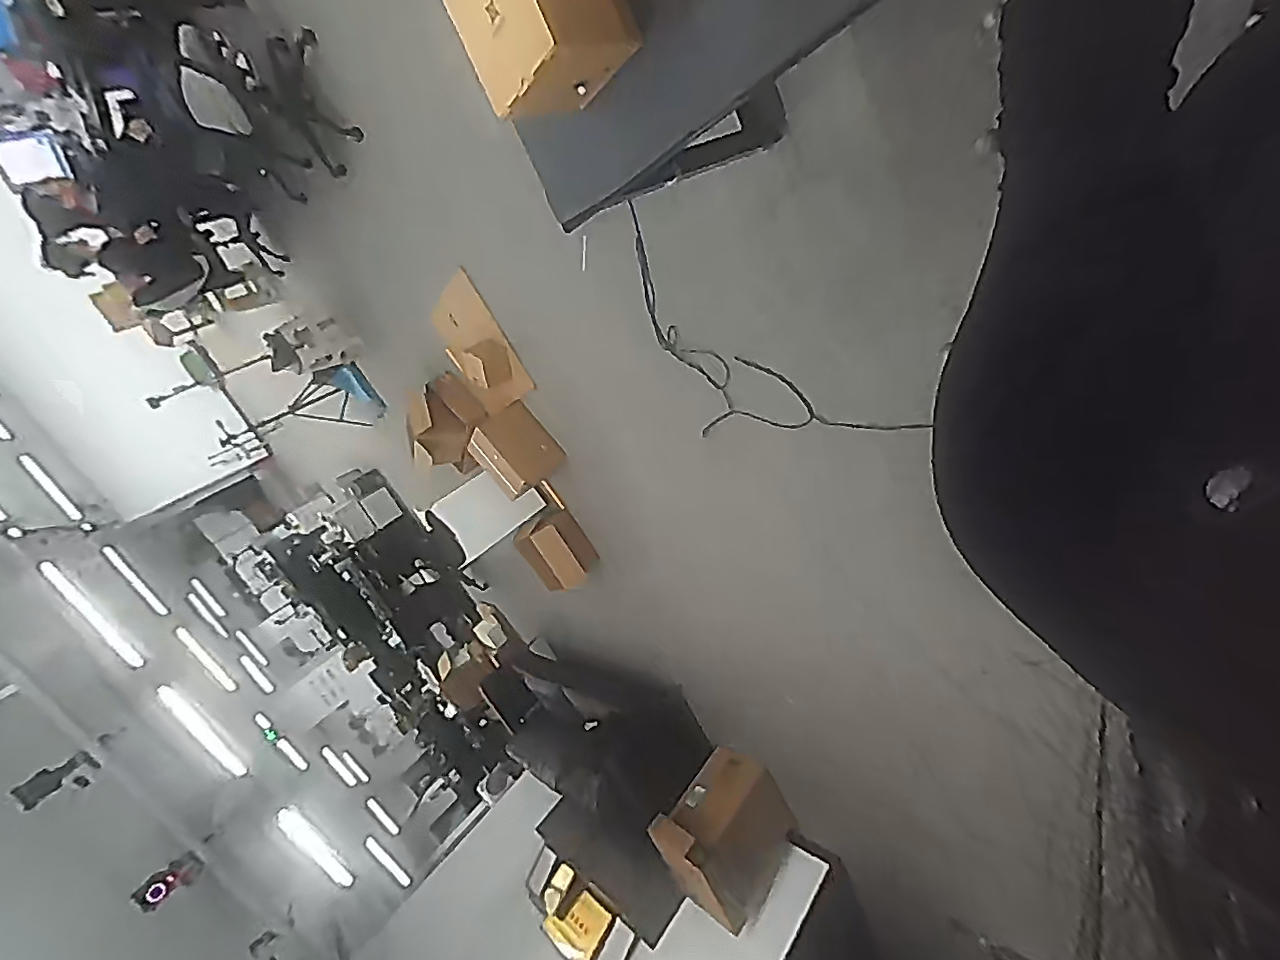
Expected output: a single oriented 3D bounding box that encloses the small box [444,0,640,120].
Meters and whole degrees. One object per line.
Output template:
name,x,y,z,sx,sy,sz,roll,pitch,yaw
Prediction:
small box,-0.133,-0.640,0.749,0.168,0.176,0.179,-6,116,50
